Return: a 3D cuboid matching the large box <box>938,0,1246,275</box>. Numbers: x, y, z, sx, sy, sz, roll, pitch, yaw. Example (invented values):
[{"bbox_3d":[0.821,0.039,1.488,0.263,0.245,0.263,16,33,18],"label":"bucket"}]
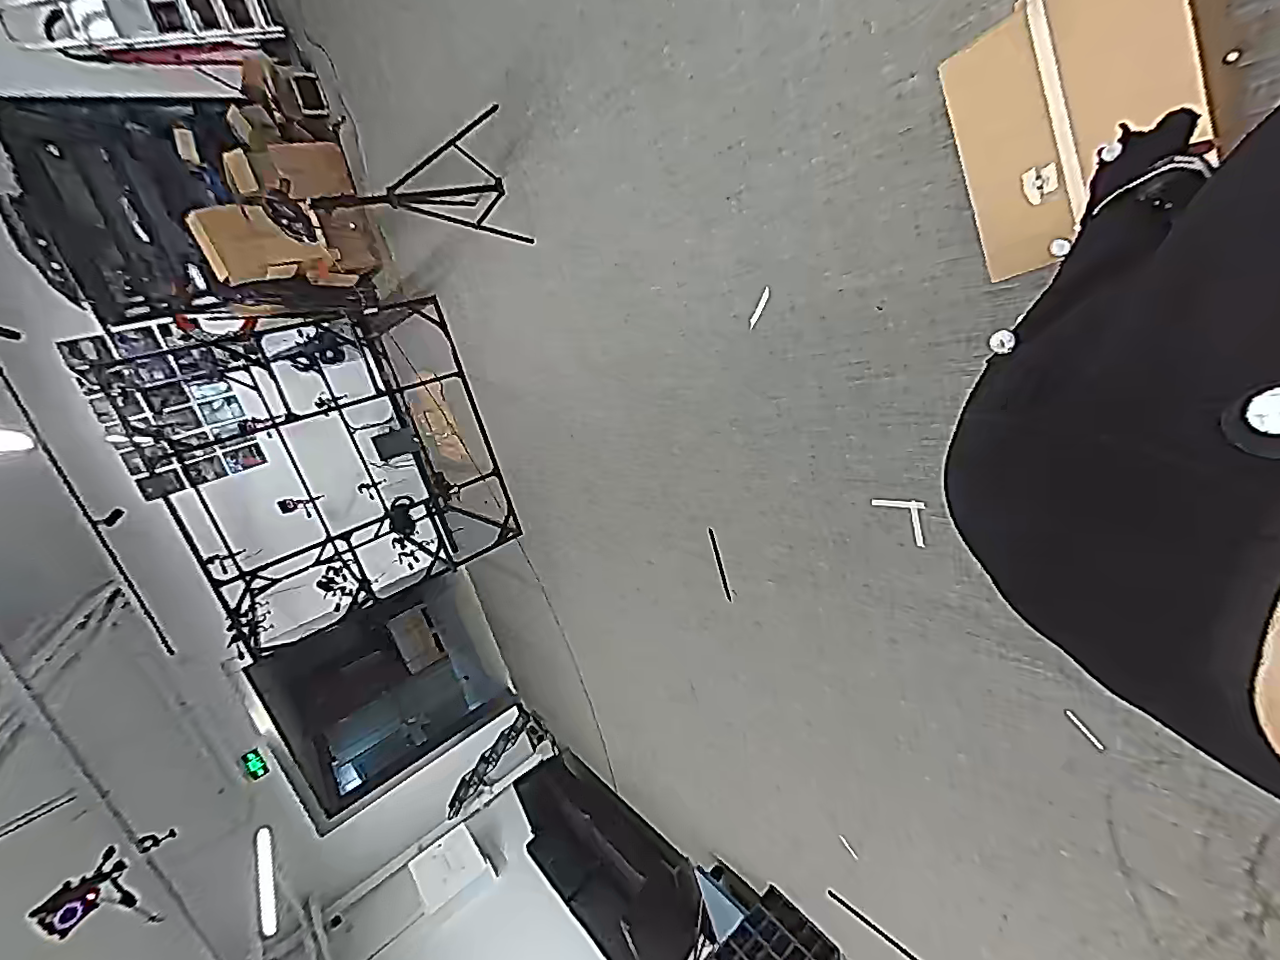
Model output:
[{"bbox_3d":[0.808,-0.647,0.970,0.320,0.320,0.408,-6,108,57],"label":"large box"}]
